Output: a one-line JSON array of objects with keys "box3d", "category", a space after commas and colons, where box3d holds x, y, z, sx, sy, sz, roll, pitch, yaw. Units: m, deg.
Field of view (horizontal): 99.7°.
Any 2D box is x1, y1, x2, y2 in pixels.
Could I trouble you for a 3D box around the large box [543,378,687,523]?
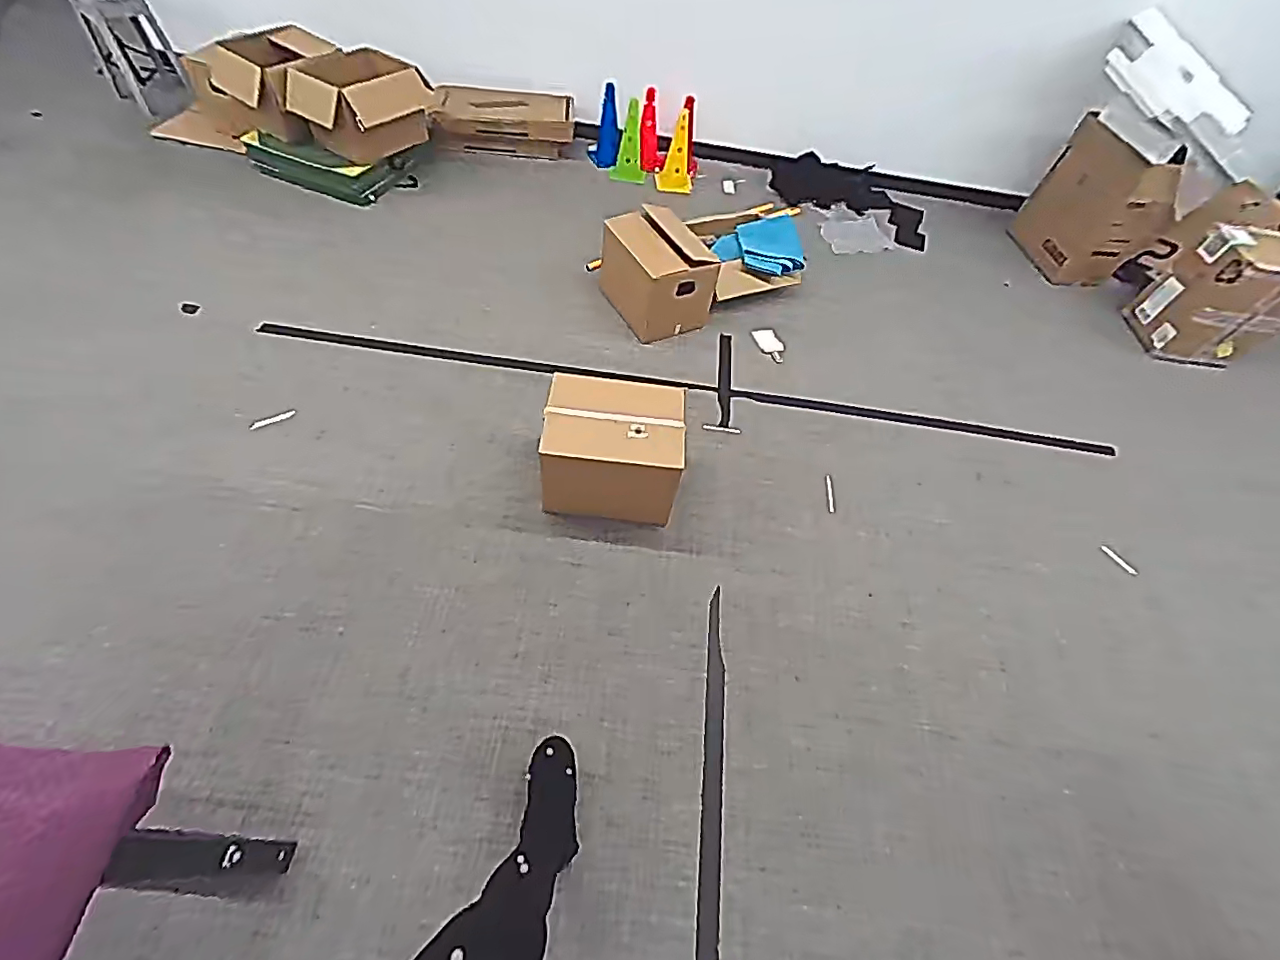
[{"box3d": [-0.083, -0.083, 1.677, 0.408, 0.320, 0.320, 6, 55, -4], "category": "large box"}]
